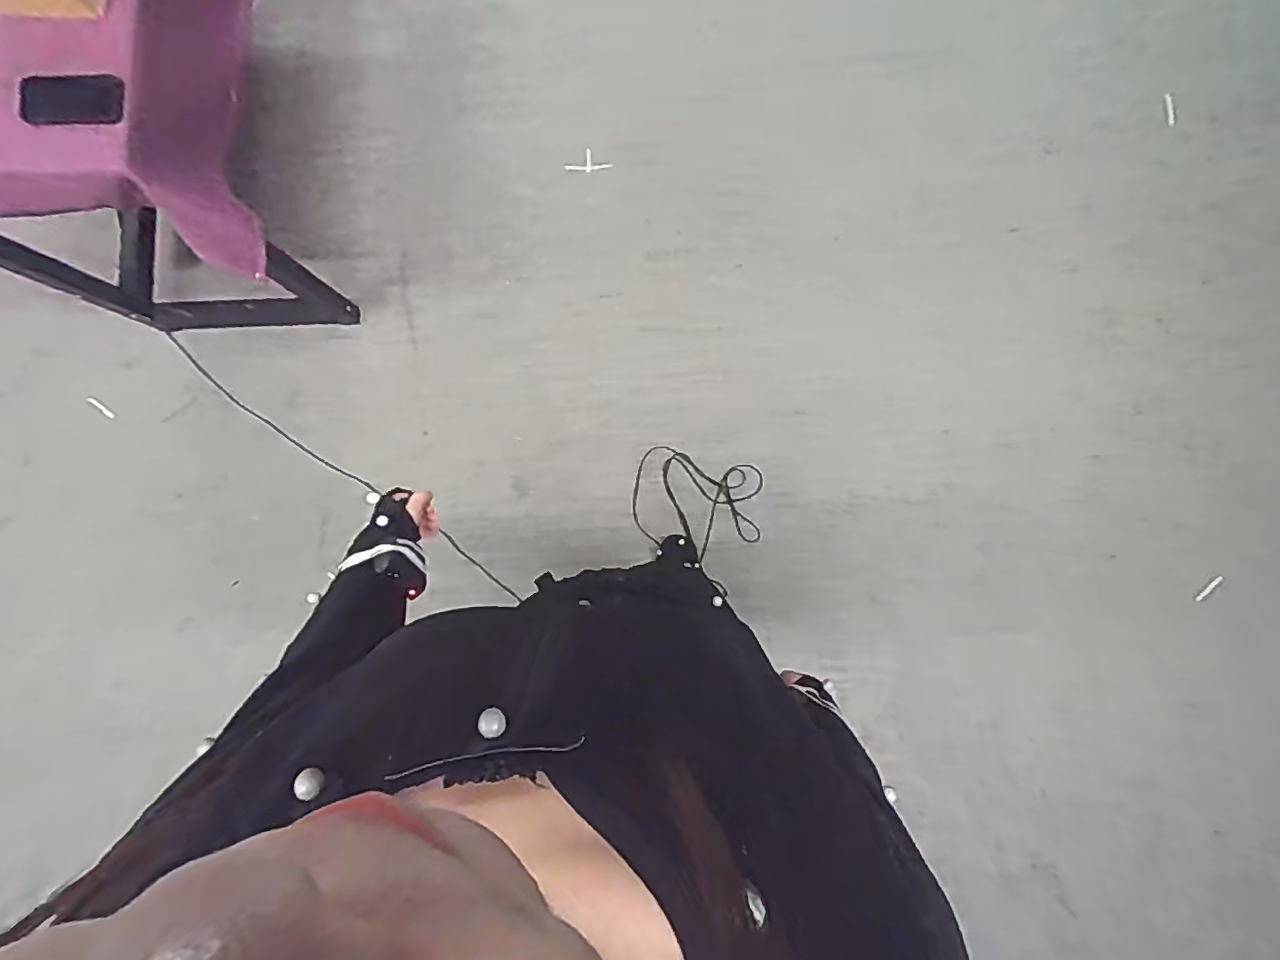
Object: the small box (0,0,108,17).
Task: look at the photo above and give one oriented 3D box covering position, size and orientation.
[{"bbox_3d":[-0.931,-0.825,0.787,0.179,0.176,0.168,3,86,0],"label":"small box"}]
